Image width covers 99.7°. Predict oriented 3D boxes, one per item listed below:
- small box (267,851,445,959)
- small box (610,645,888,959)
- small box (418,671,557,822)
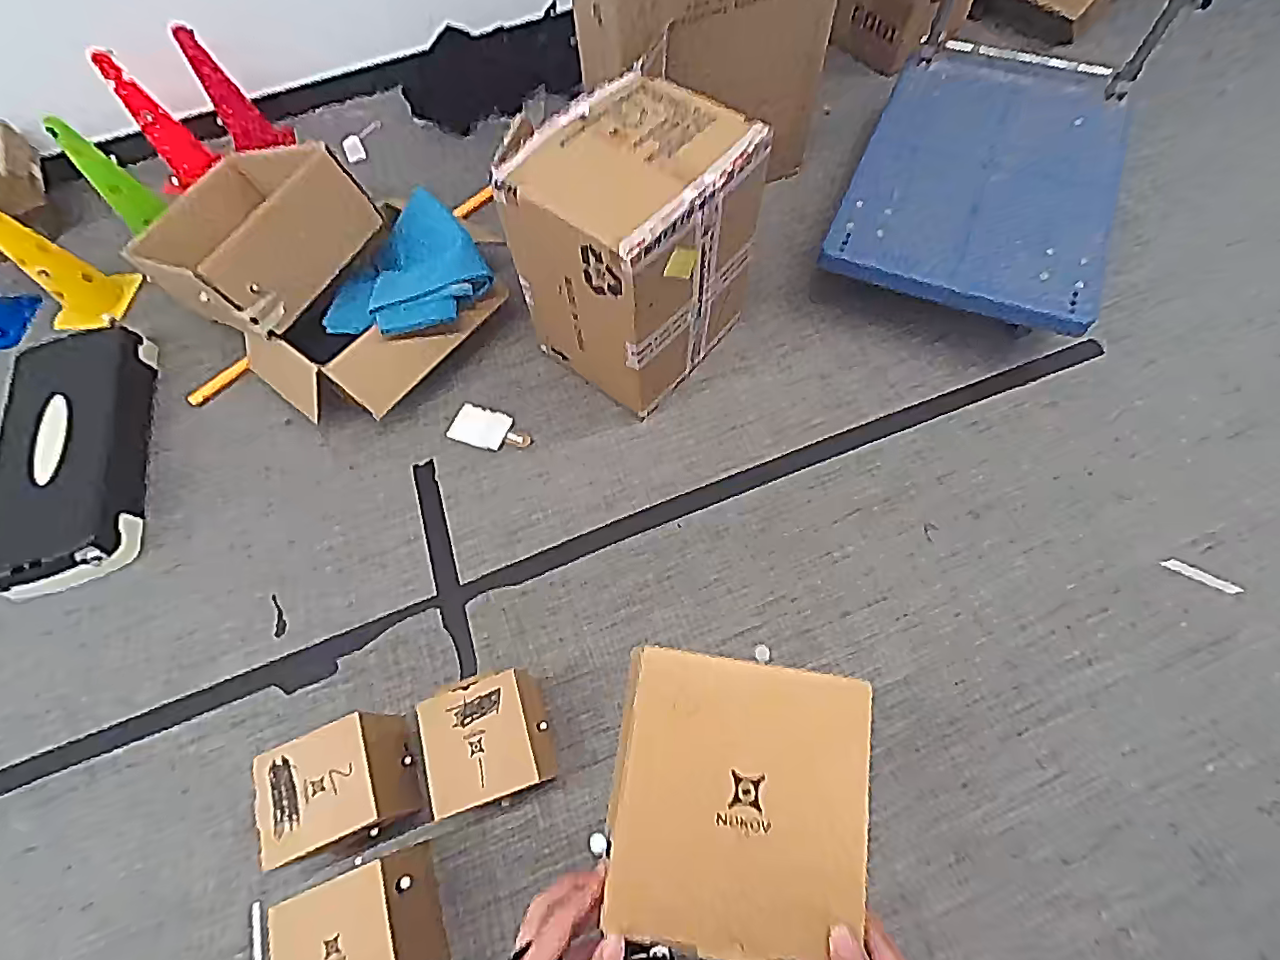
[{"bbox_3d":[-0.414,0.683,0.804,0.168,0.176,0.179,-21,65,-6],"label":"small box"},{"bbox_3d":[0.069,0.230,0.418,0.168,0.176,0.179,9,73,0],"label":"small box"},{"bbox_3d":[-0.250,0.444,0.912,0.168,0.176,0.179,-18,65,-5],"label":"small box"}]
